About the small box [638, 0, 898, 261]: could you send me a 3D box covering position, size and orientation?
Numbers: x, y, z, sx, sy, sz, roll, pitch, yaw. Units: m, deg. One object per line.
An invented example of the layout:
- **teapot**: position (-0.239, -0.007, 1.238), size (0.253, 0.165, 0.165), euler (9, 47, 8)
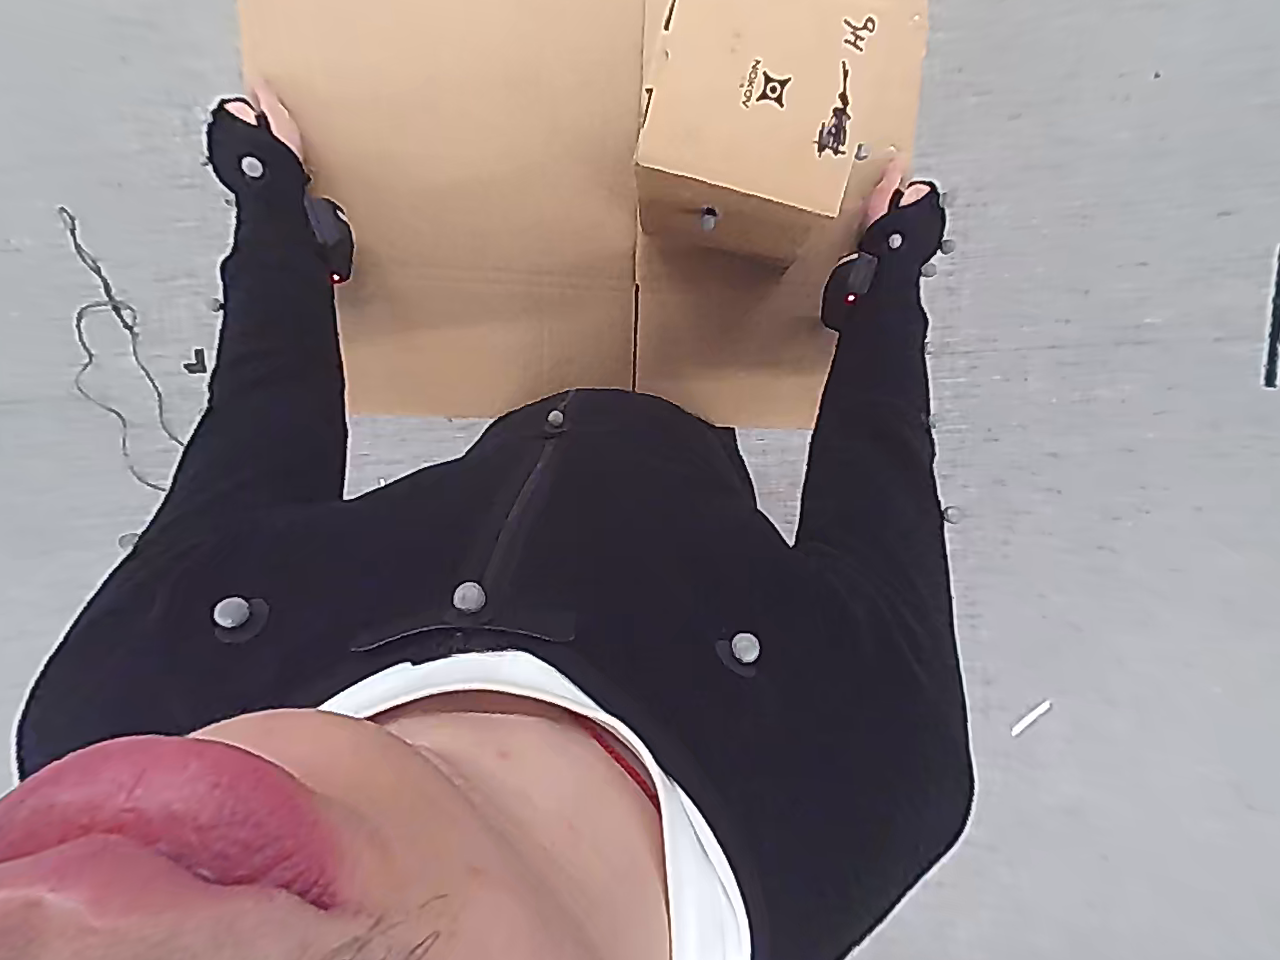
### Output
- **small box**: position (0.106, -0.330, 0.521), size (0.179, 0.176, 0.168), euler (15, 98, 1)
